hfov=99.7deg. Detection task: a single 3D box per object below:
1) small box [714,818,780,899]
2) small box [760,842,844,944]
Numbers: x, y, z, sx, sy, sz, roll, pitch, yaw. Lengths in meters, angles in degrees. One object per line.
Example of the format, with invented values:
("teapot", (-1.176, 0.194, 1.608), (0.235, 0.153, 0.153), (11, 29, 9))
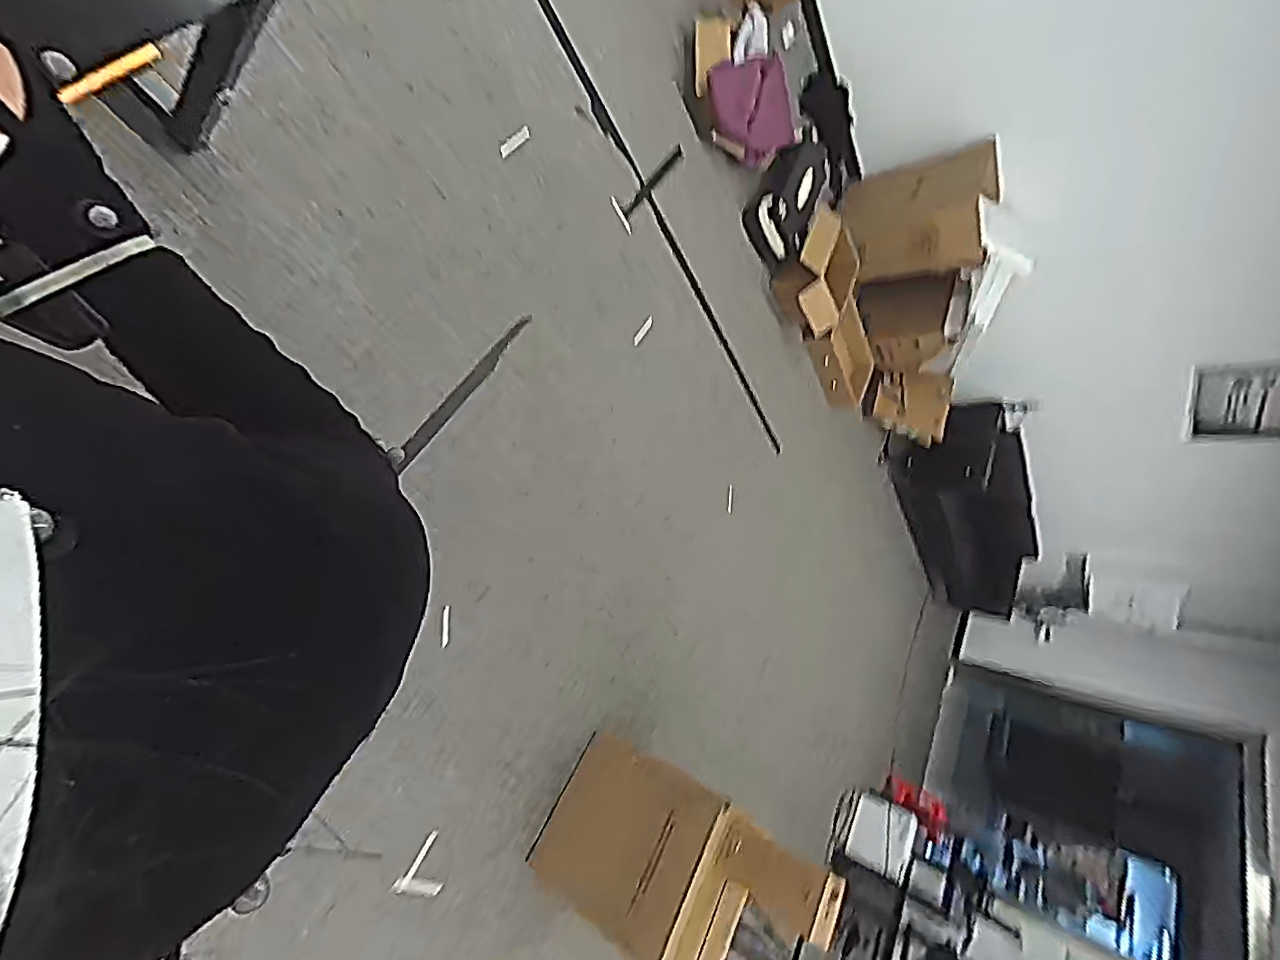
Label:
("small box", (0.368, 1.228, 1.743), (0.179, 0.176, 0.168), (51, 58, -34))
("small box", (0.485, 1.235, 1.627), (0.168, 0.176, 0.179), (51, 58, -35))
